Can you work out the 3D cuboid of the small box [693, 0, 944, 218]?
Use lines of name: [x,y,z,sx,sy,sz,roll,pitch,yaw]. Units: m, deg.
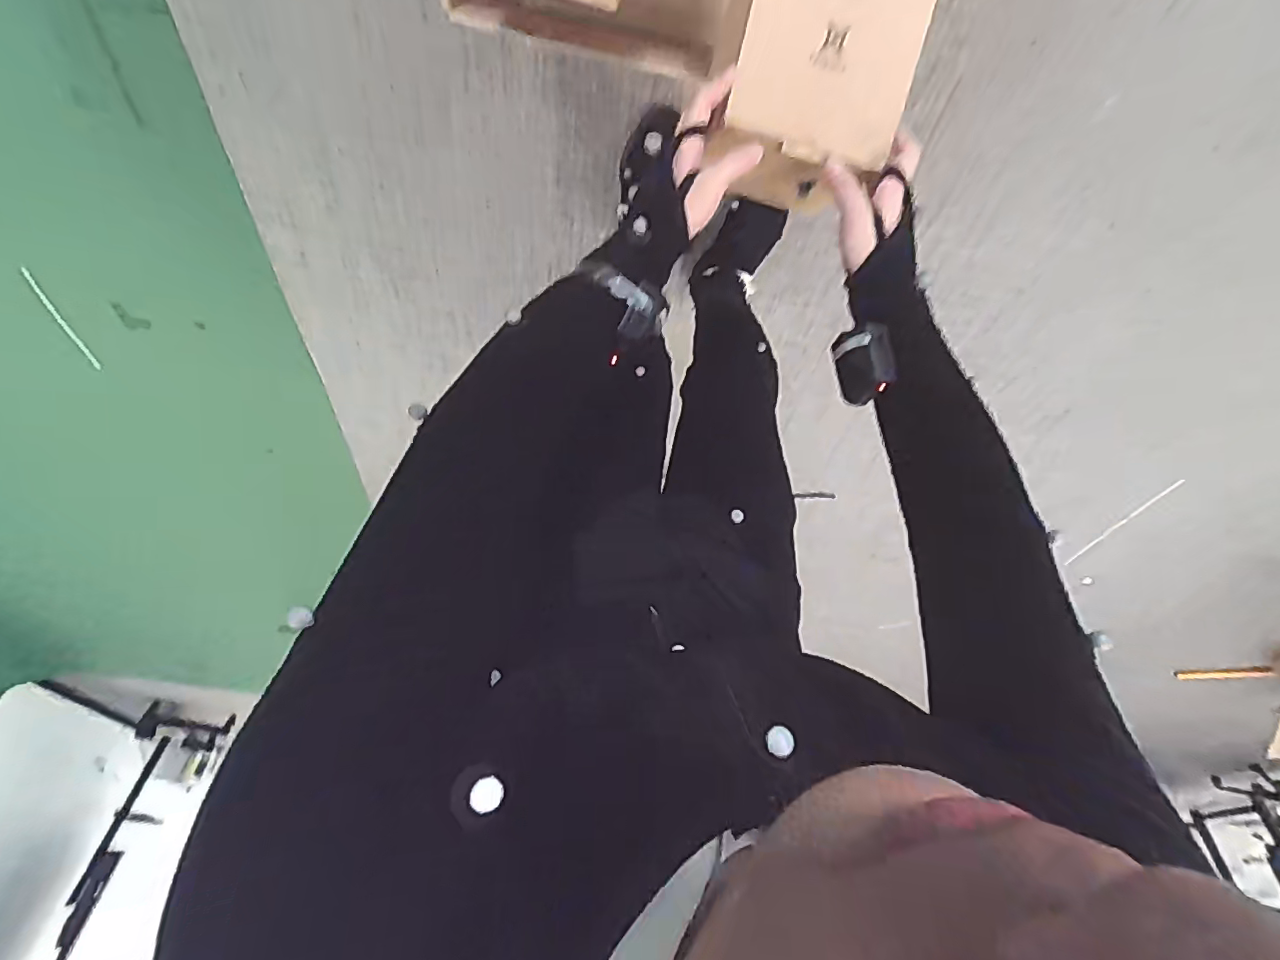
small box: [0.163,-0.394,0.556,0.168,0.176,0.179,12,102,-10]
